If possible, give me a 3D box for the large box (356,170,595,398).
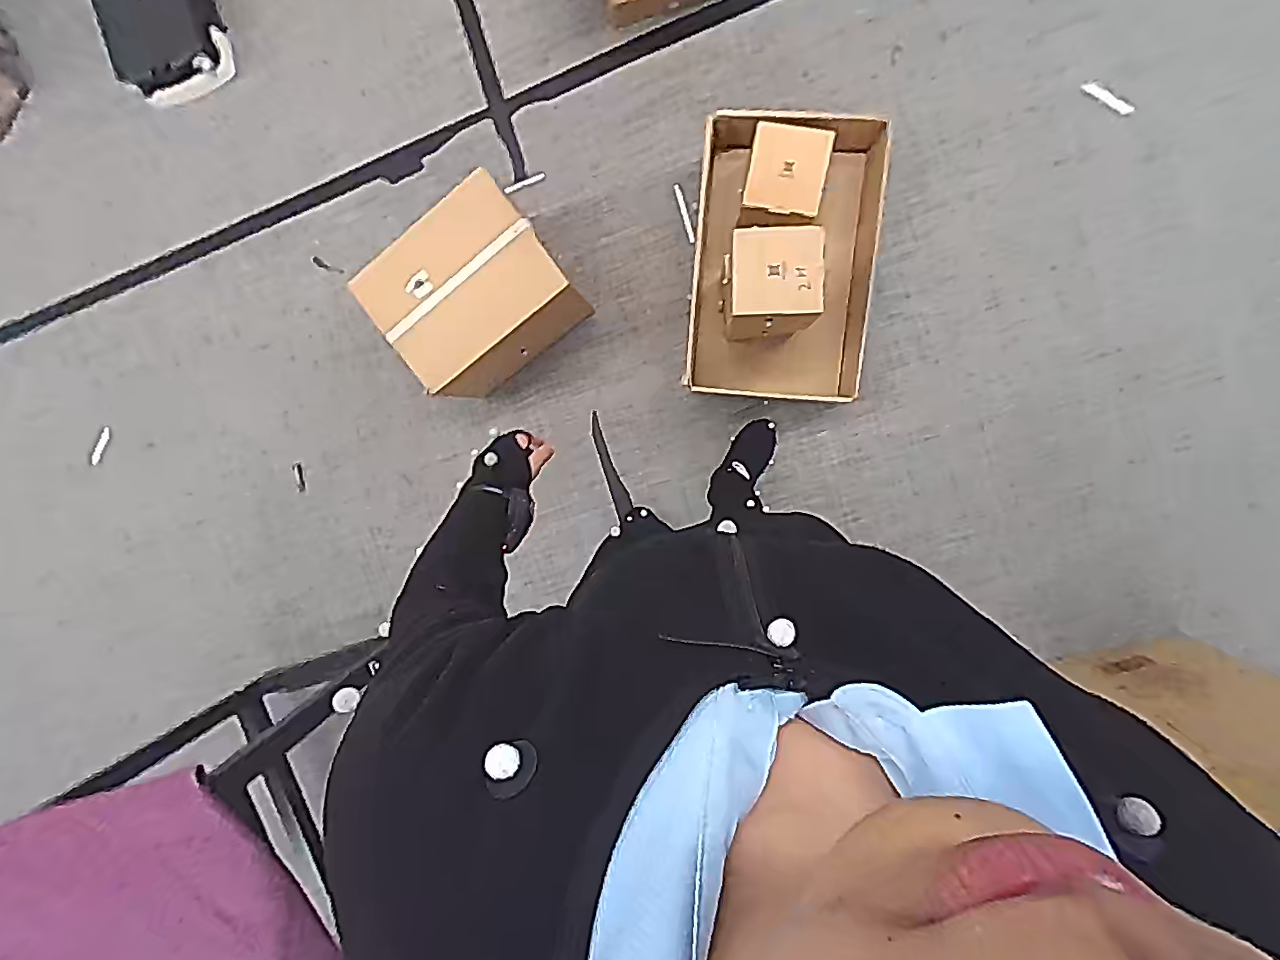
[{"bbox_3d":[-0.375,-0.441,1.325,0.408,0.320,0.320,-36,91,10],"label":"large box"}]

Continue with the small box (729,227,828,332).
[{"bbox_3d":[0.276,-0.404,1.114,0.179,0.176,0.168,1,95,5],"label":"small box"}]
